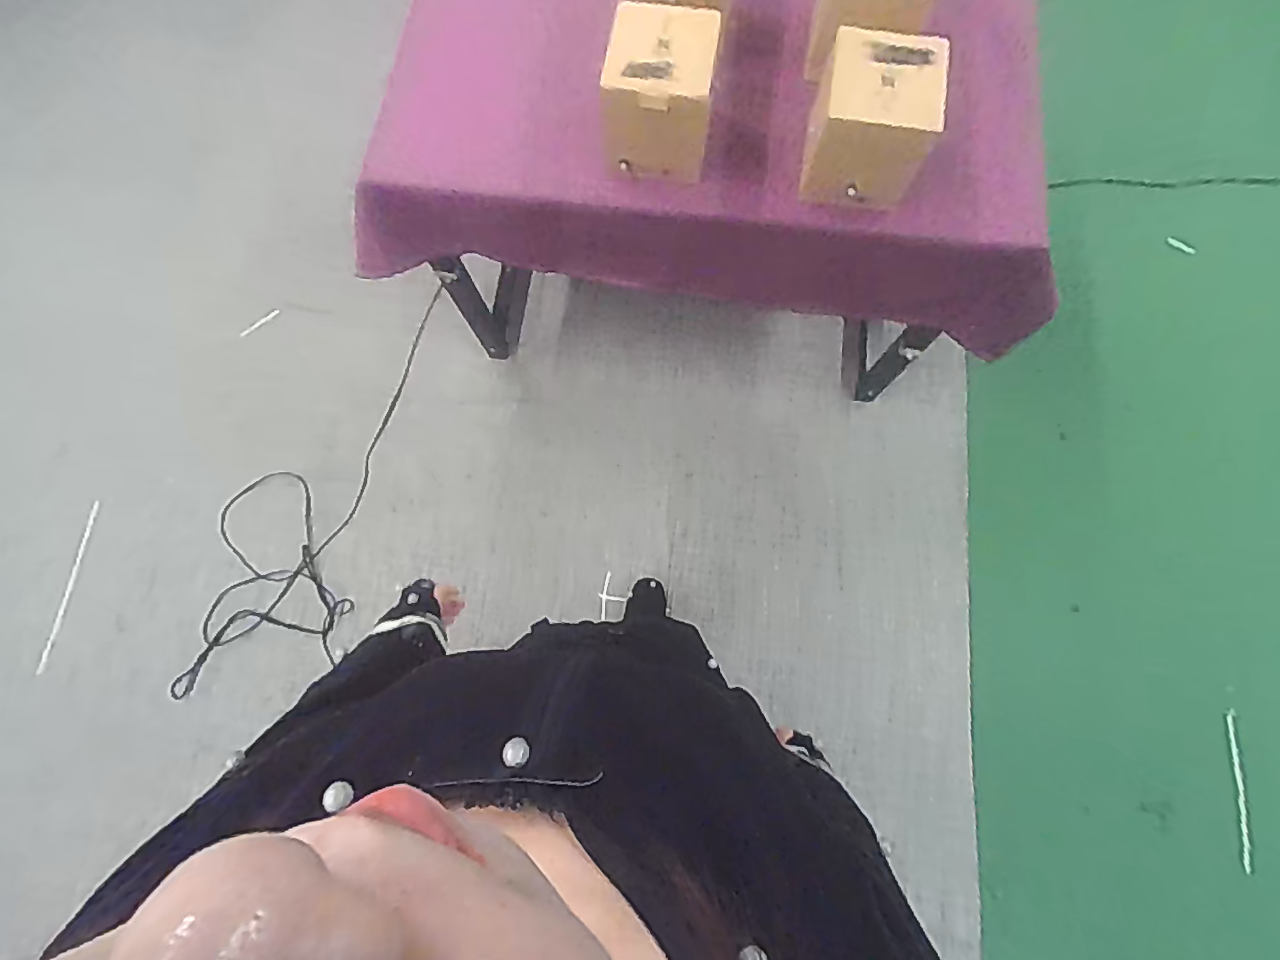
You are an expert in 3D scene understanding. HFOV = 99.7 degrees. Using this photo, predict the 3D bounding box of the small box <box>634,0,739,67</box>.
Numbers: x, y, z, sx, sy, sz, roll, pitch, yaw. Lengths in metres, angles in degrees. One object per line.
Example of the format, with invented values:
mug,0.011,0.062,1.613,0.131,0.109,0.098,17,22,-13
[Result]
small box,0.085,-0.871,0.959,0.179,0.176,0.168,11,77,4

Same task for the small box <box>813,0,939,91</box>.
small box,0.409,-0.820,0.937,0.168,0.176,0.179,11,76,5

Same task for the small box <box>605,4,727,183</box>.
small box,0.044,-0.632,0.899,0.168,0.176,0.179,10,75,4
